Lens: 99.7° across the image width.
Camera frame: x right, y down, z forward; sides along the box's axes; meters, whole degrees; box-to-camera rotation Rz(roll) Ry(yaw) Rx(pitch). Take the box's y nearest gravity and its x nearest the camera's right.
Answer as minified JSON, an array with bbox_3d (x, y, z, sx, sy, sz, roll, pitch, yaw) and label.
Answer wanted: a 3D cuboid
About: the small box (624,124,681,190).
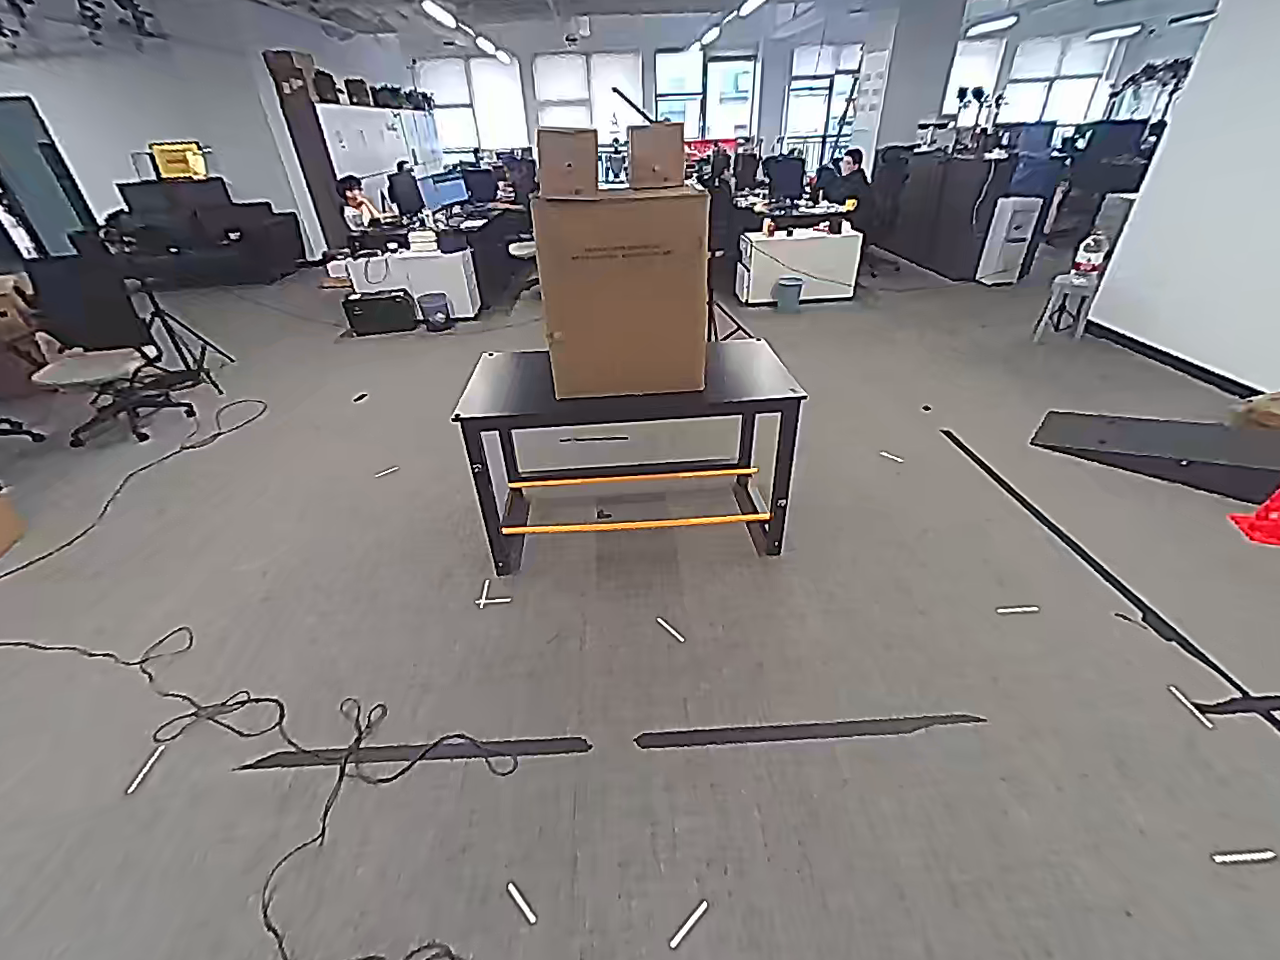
[{"bbox_3d":[0.037,-1.022,1.711,0.168,0.176,0.179,-6,33,-3],"label":"small box"}]

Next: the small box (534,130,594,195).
[{"bbox_3d":[-0.236,-1.007,1.712,0.168,0.176,0.179,-5,33,-3],"label":"small box"}]
